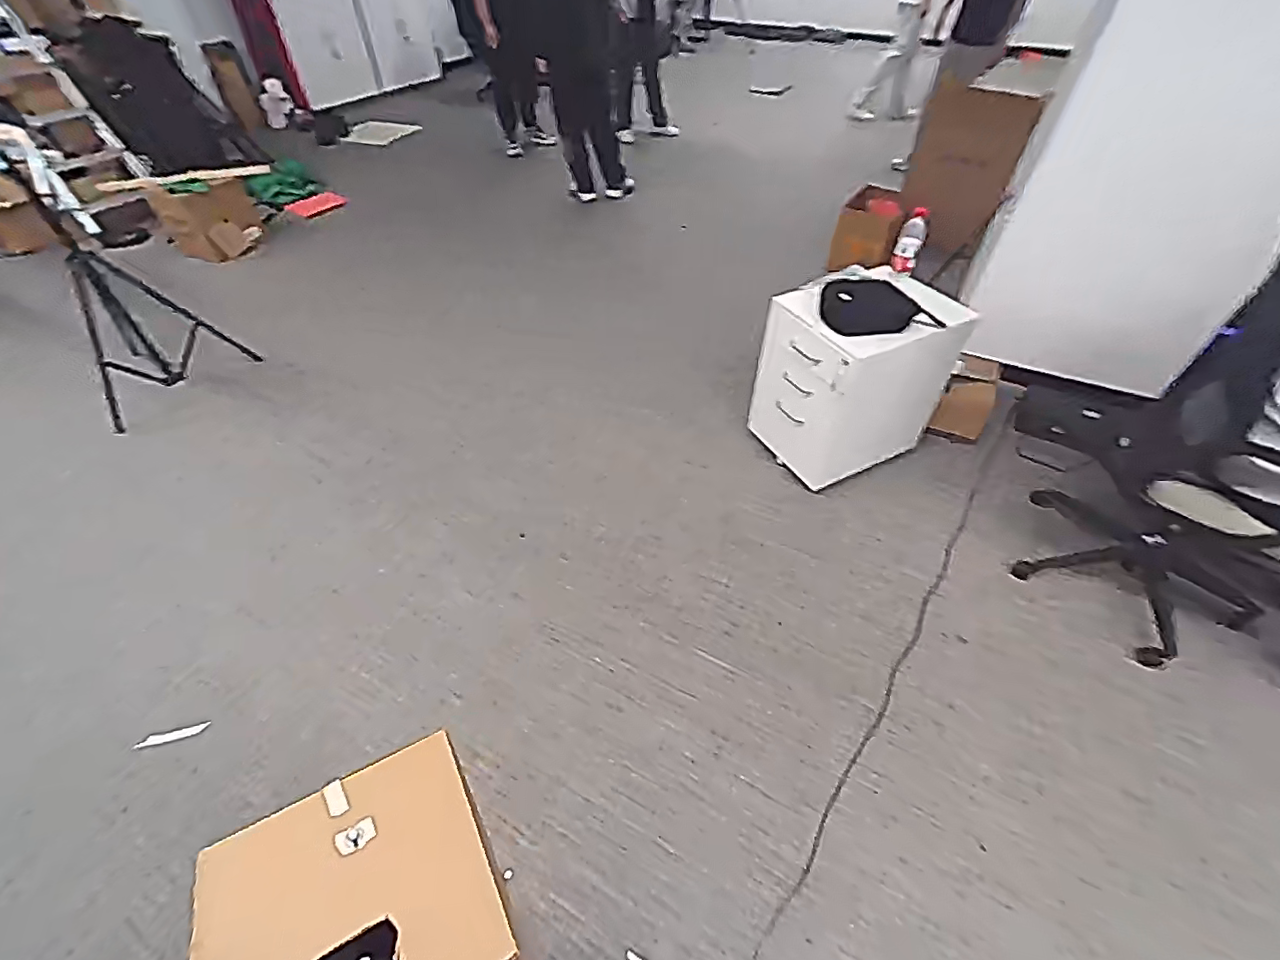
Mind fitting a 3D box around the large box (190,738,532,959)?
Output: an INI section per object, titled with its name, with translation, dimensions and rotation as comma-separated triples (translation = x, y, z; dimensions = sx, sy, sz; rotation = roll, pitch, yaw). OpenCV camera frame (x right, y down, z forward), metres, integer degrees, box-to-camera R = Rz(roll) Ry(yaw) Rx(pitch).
[large box]
translation = -0.344, 0.655, 0.748
dimensions = 0.320, 0.408, 0.320
rotation = -21, 38, -24
